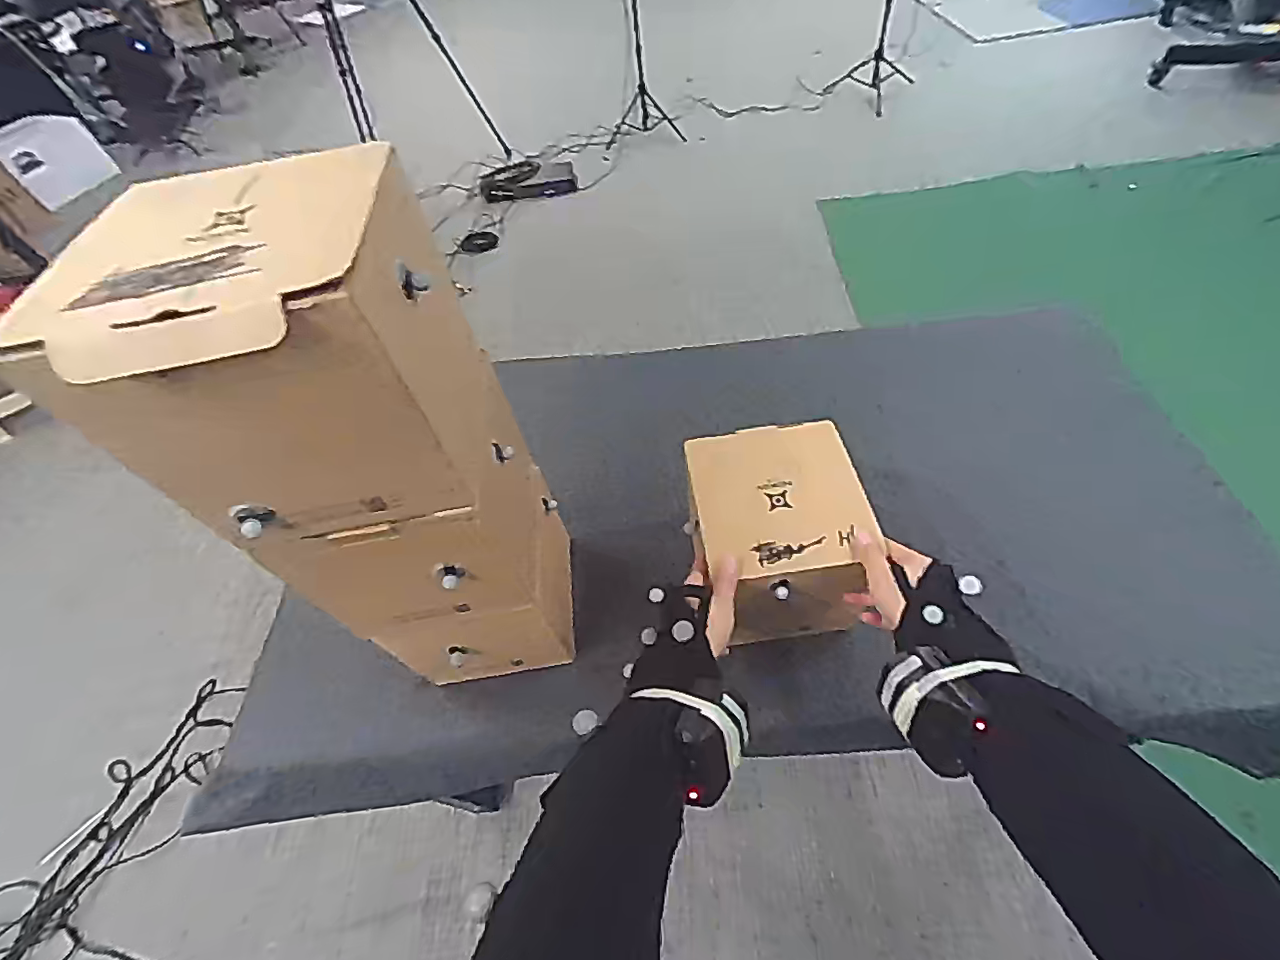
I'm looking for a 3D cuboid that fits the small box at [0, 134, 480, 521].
[{"bbox_3d":[-0.211,-0.088,0.352,0.168,0.176,0.179,-10,52,-2],"label":"small box"}]

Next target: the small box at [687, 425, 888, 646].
[{"bbox_3d":[0.144,0.065,0.604,0.168,0.176,0.179,-8,53,1],"label":"small box"}]

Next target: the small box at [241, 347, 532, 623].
[{"bbox_3d":[-0.195,0.012,0.481,0.168,0.176,0.179,-9,51,-1],"label":"small box"}]

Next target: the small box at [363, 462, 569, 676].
[{"bbox_3d":[-0.178,0.108,0.611,0.168,0.176,0.179,-9,52,0],"label":"small box"}]
